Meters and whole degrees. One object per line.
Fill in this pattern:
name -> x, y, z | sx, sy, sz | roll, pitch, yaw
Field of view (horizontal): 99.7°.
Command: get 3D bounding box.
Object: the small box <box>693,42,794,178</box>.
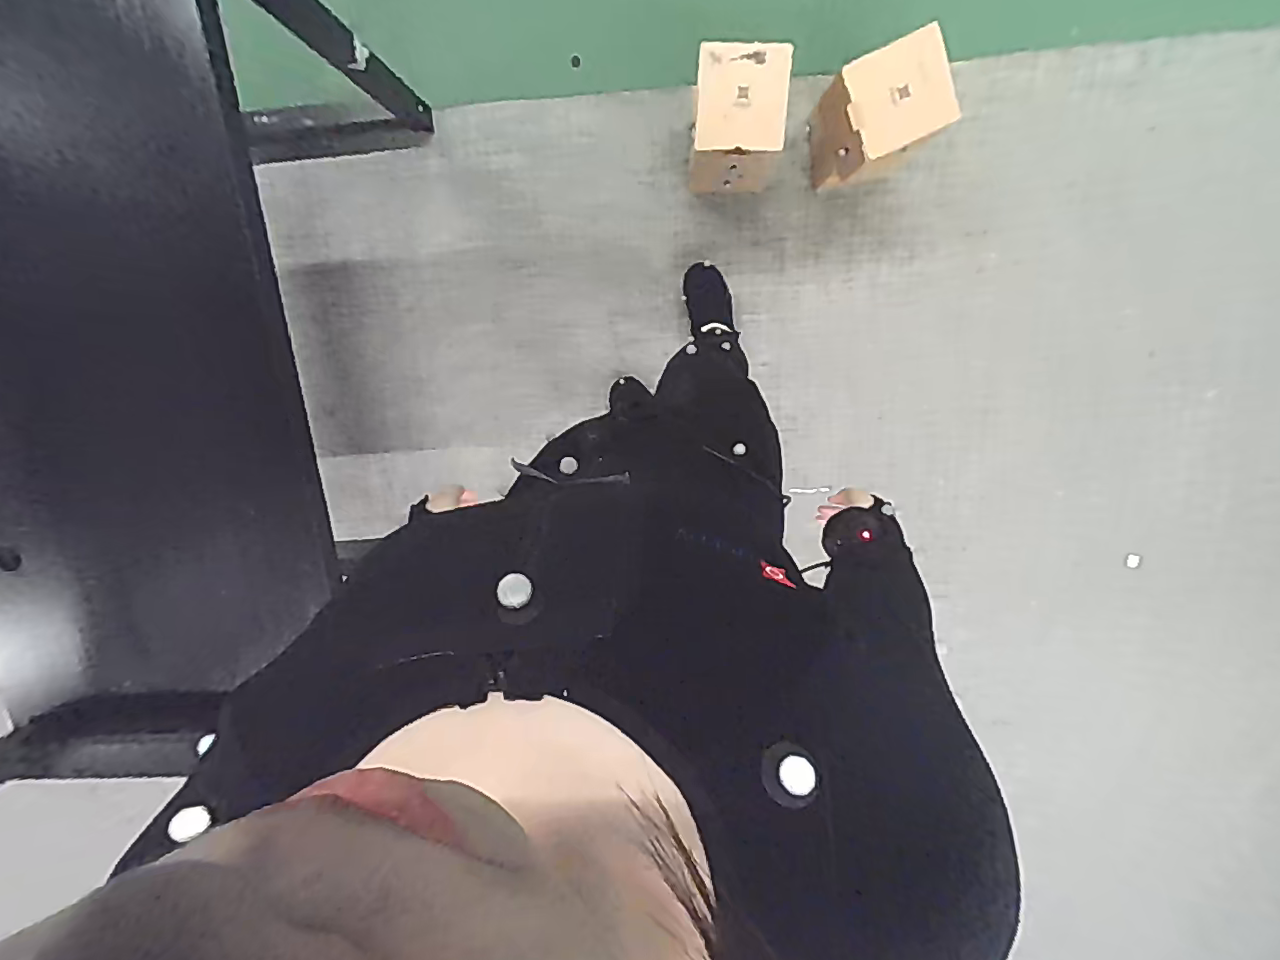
small box -> 0.191, -0.702, 1.045 | 0.168, 0.176, 0.179 | 4, 105, 3

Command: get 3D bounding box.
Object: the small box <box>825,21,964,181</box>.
small box -> 0.469, -0.704, 1.030 | 0.179, 0.176, 0.168 | -22, 104, 8

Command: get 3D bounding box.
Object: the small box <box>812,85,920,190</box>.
small box -> 0.485, -0.756, 1.183 | 0.179, 0.176, 0.168 | -10, 104, 5
